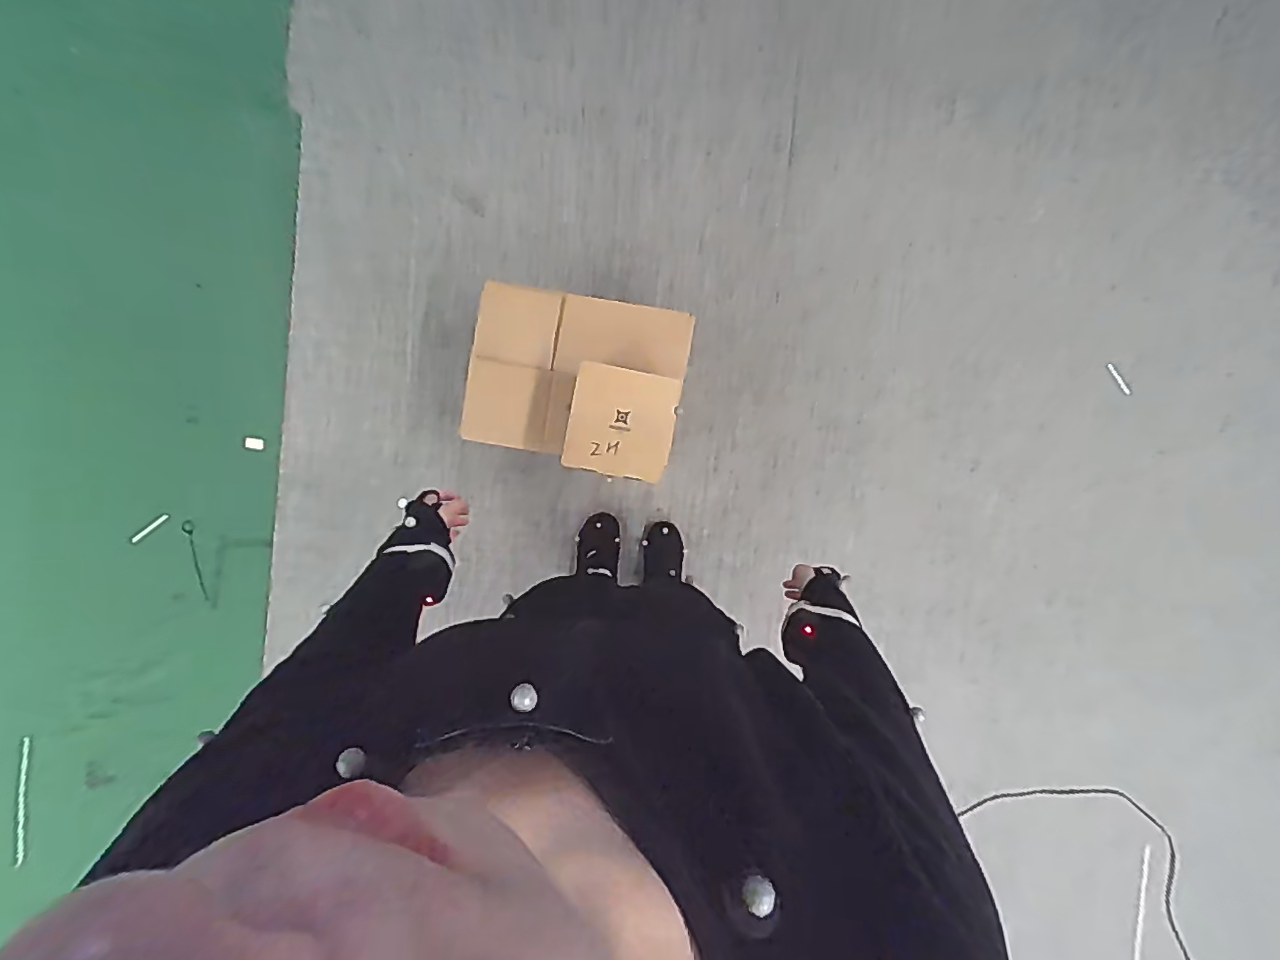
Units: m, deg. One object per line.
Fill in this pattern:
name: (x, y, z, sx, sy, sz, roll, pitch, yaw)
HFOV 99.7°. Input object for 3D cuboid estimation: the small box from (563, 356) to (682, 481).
small box: (-0.032, -0.101, 0.951, 0.168, 0.176, 0.179, 12, 91, -1)
